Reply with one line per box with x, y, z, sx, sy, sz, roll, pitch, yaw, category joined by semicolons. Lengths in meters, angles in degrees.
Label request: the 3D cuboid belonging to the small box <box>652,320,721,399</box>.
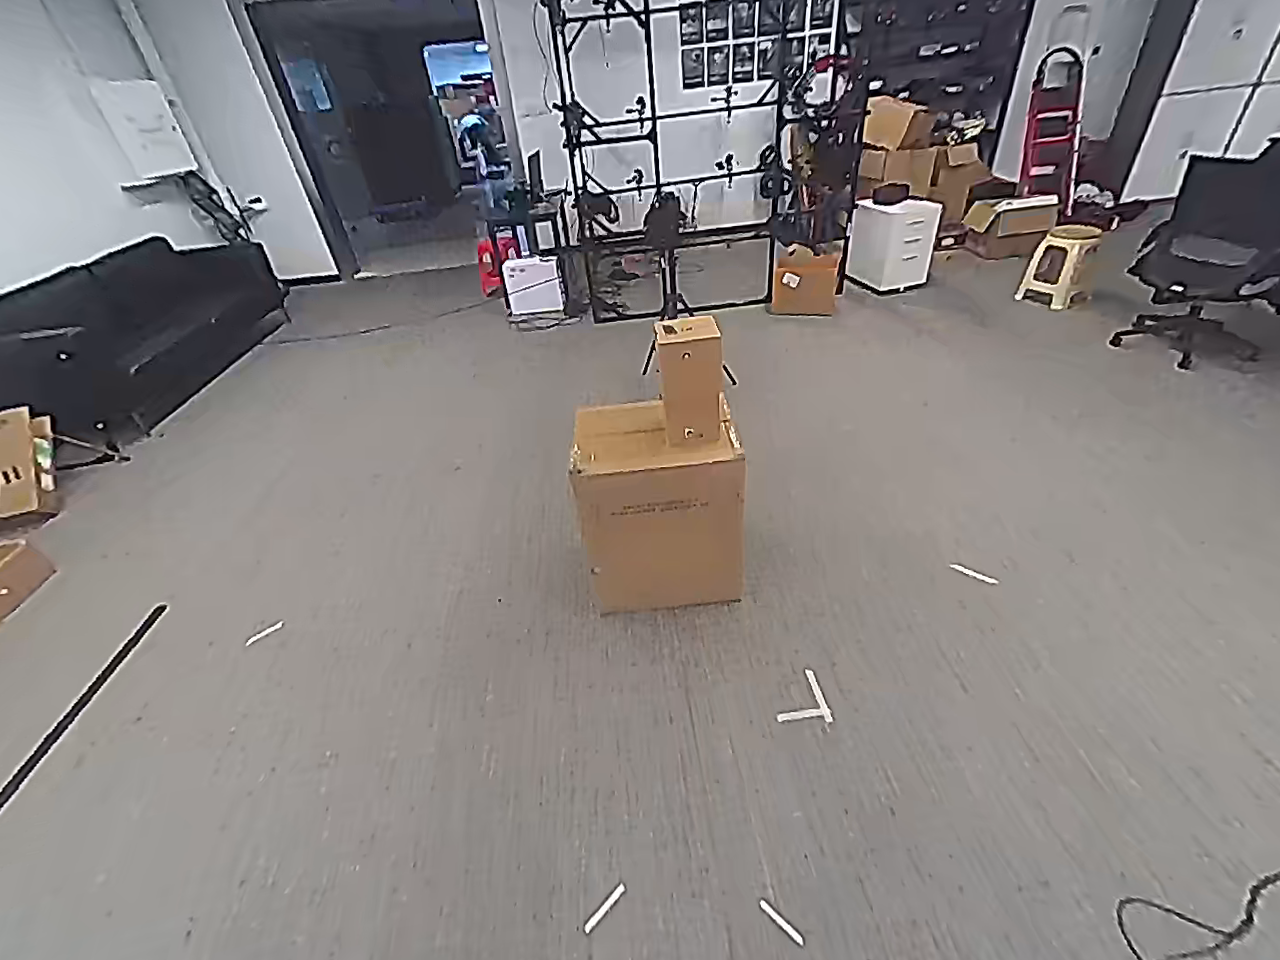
0.137;-0.348;1.578;0.179;0.176;0.168;-7;37;1;small box

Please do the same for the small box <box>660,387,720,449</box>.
0.153;-0.217;1.677;0.168;0.176;0.179;-8;38;2;small box
